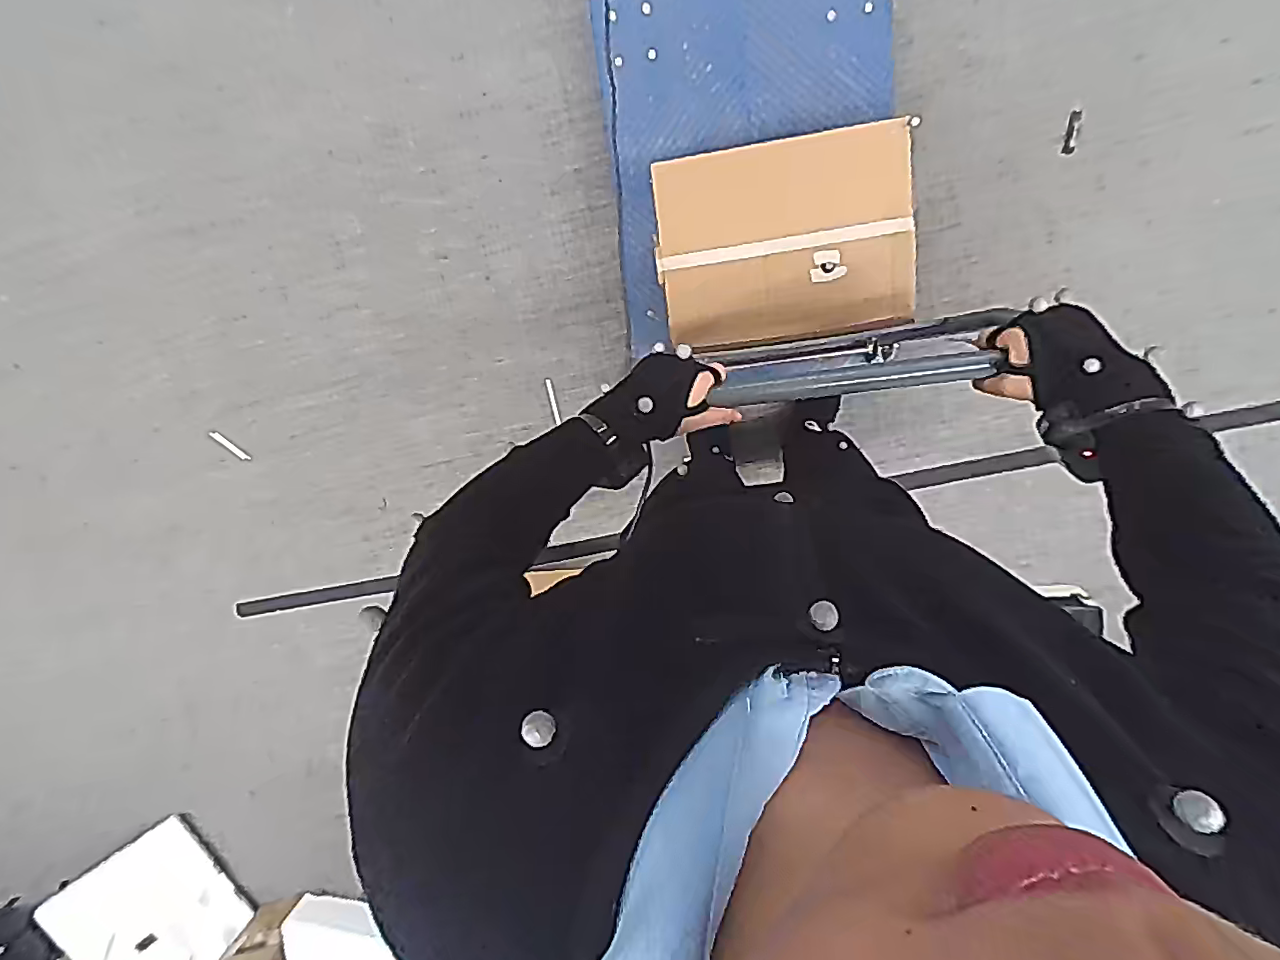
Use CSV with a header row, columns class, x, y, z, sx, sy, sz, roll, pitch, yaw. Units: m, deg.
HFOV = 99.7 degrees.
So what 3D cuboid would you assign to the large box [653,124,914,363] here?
class,x,y,z,sx,sy,sz,roll,pitch,yaw
large box,0.250,-0.410,1.033,0.408,0.320,0.320,-6,103,7
